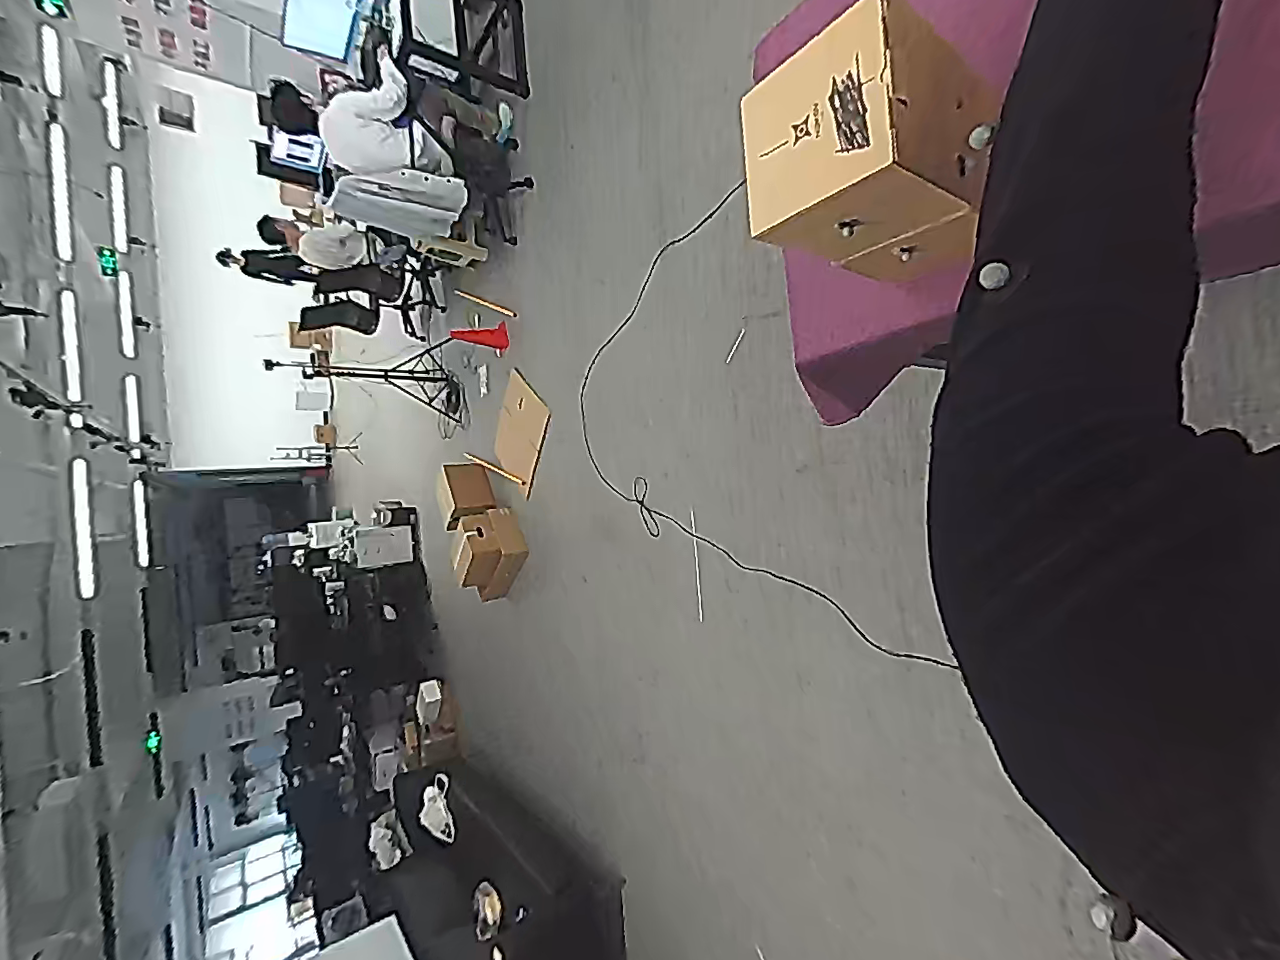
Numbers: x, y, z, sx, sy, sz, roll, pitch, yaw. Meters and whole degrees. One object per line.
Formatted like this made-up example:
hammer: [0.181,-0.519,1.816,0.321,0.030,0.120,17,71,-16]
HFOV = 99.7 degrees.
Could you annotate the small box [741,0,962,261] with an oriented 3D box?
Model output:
small box: [0.242,-0.370,0.614,0.179,0.176,0.168,-5,89,53]

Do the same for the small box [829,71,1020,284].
small box: [0.370,-0.376,0.716,0.179,0.176,0.168,-4,90,52]
